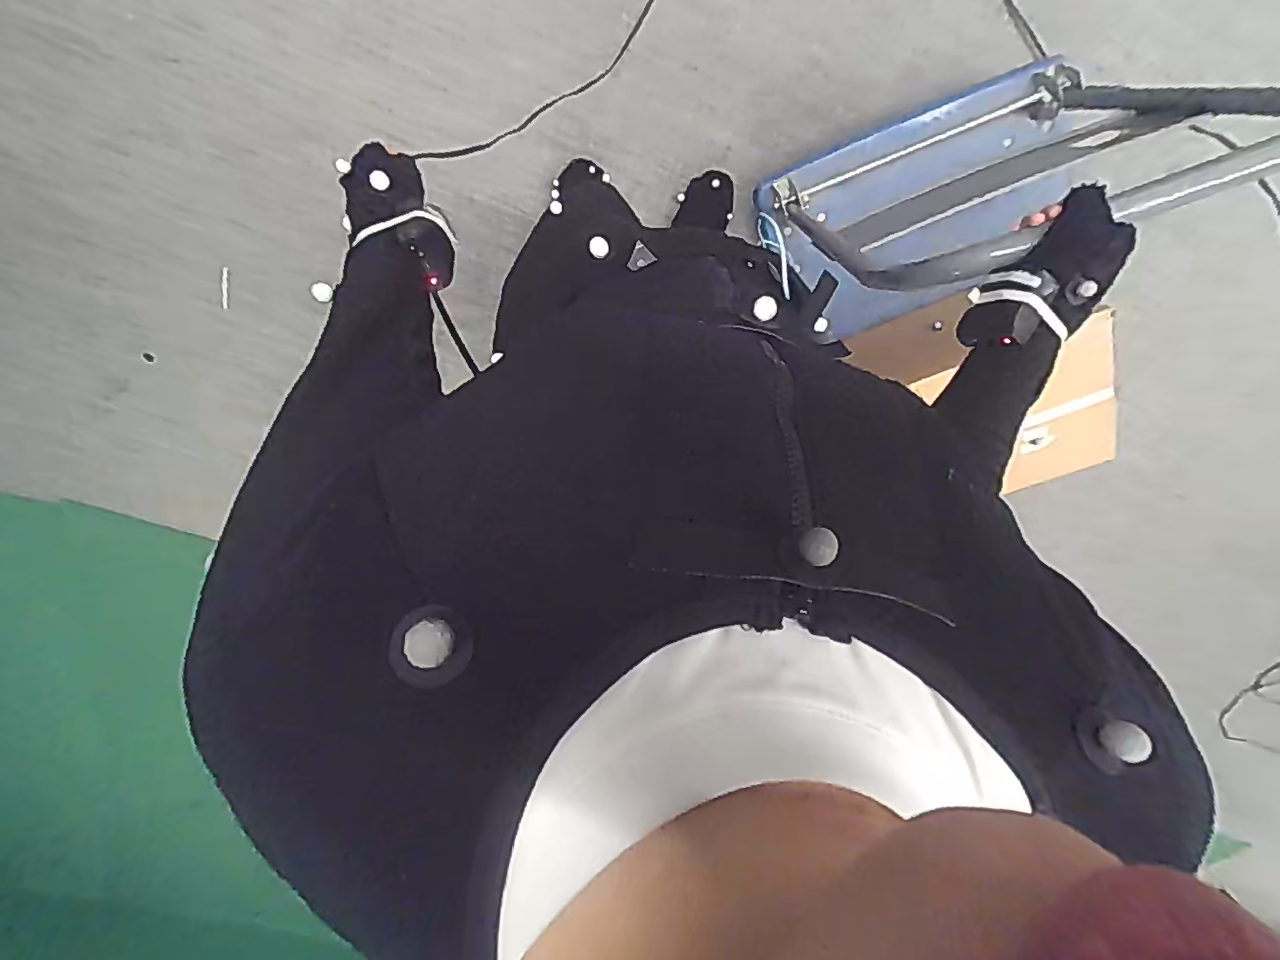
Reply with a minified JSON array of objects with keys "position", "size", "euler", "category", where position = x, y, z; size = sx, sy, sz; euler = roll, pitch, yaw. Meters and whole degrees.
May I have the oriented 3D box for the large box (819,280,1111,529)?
[{"position":[0.648,-0.165,1.129],"size":[0.408,0.320,0.320],"euler":[-22,118,13],"category":"large box"}]
